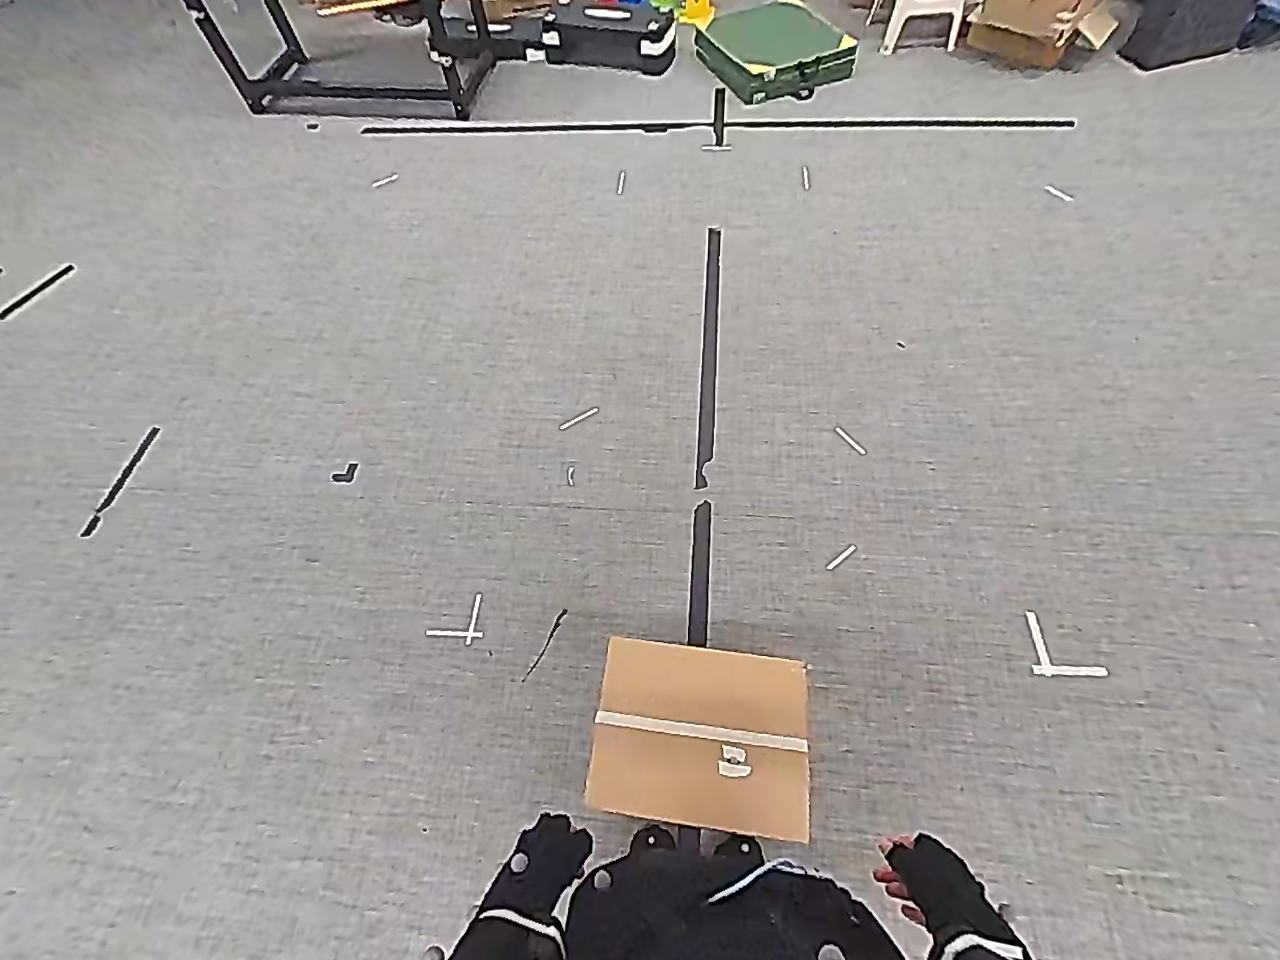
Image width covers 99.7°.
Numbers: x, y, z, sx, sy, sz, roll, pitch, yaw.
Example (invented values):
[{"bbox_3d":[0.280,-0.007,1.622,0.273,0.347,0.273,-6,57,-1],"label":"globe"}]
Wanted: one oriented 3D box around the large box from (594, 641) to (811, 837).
[{"bbox_3d":[0.130,0.563,1.182,0.408,0.320,0.320,6,61,5],"label":"large box"}]
